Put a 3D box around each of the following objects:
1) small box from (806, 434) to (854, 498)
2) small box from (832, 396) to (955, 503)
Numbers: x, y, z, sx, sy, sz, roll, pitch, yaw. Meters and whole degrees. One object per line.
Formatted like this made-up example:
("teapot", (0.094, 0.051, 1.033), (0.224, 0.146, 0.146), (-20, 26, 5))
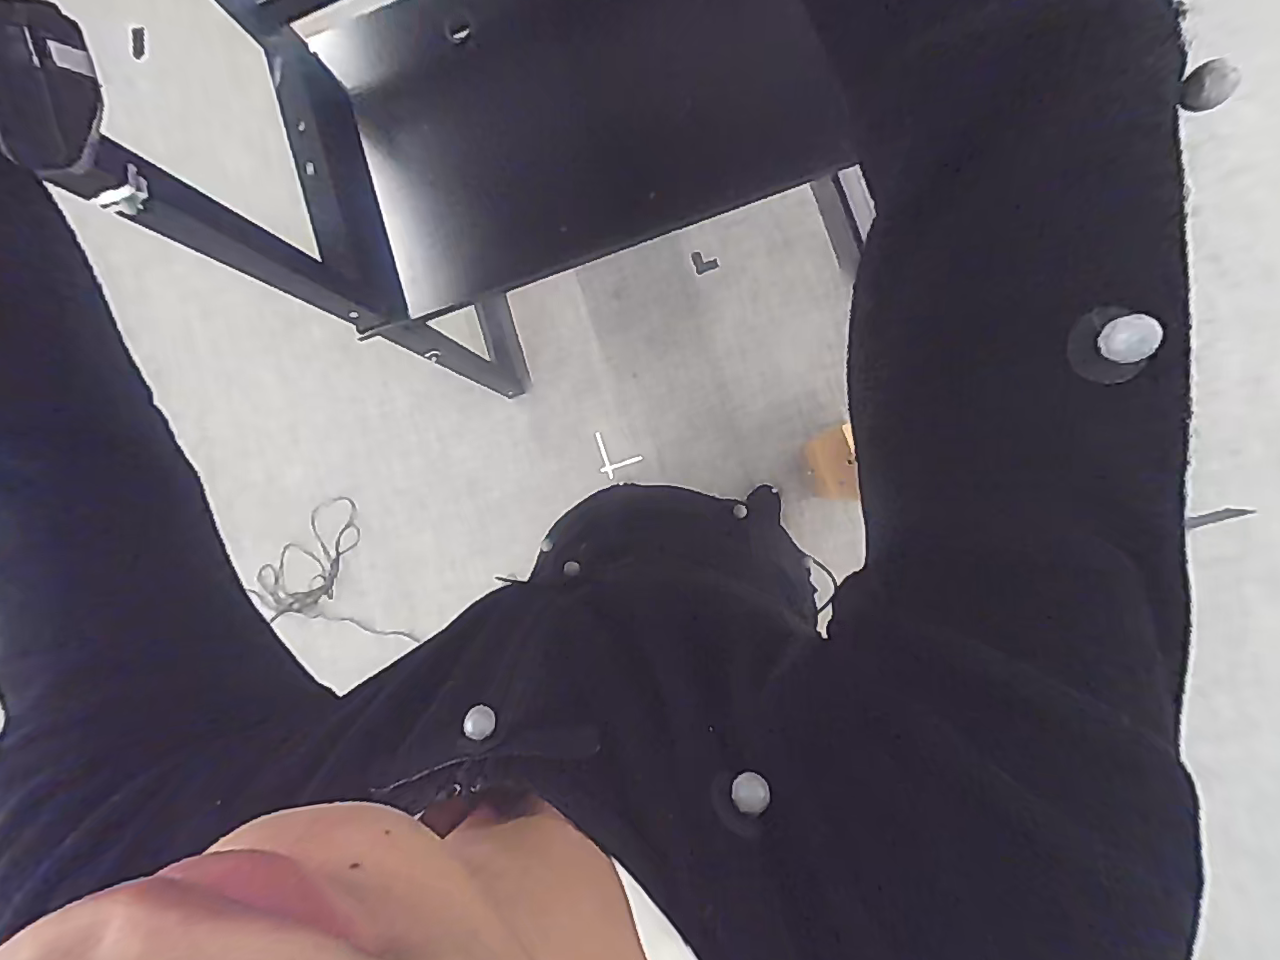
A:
("small box", (0.579, -0.056, 1.492), (0.179, 0.176, 0.168), (-19, 85, 8))
("small box", (0.536, -0.061, 1.168), (0.168, 0.176, 0.179), (-21, 85, 8))
